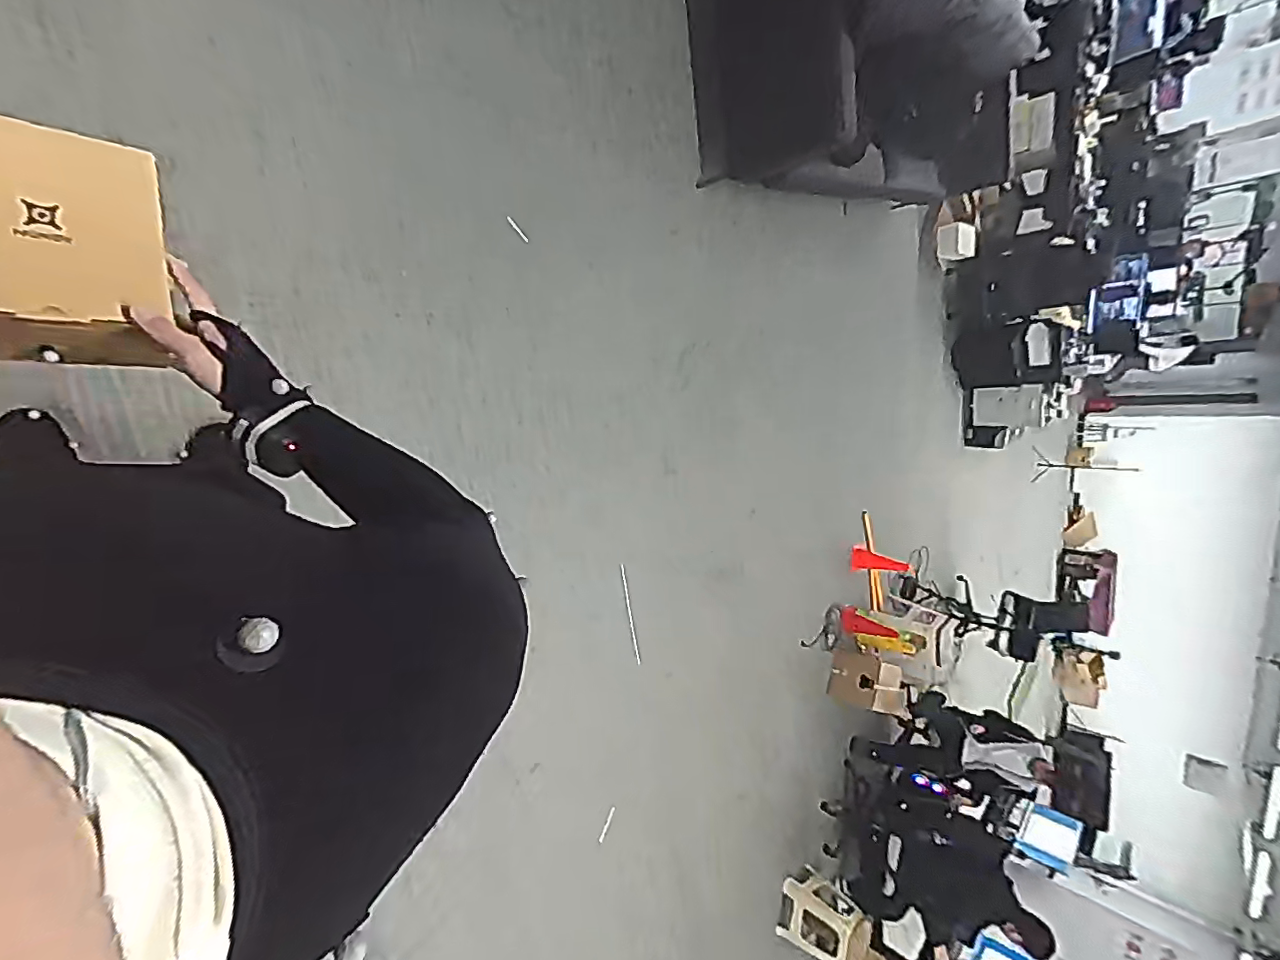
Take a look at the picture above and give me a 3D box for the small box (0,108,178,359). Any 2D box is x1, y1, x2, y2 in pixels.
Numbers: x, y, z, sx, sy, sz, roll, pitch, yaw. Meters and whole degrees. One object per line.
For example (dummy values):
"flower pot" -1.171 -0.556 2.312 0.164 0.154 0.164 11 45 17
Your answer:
"small box" -0.576 -0.228 0.532 0.168 0.176 0.179 -7 92 -43
